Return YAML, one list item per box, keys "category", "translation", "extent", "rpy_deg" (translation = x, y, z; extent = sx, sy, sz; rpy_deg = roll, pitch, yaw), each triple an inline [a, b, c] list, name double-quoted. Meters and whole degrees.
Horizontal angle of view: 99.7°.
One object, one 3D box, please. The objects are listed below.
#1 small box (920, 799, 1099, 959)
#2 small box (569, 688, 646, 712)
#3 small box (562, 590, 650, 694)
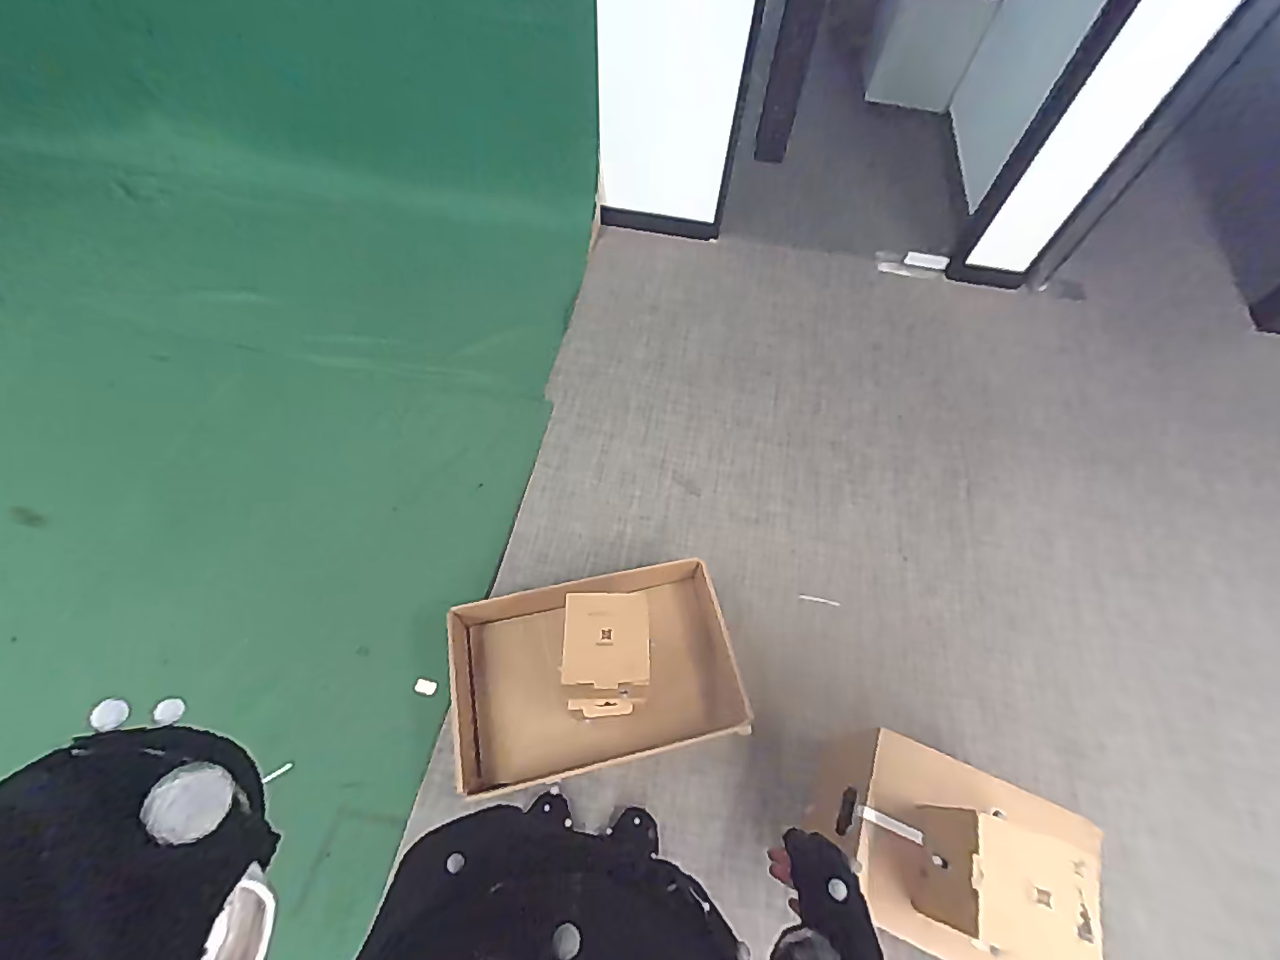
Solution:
- category: "small box"
  translation: [0.571, 0.627, 0.860]
  extent: [0.179, 0.176, 0.168]
  rpy_deg: [17, 62, 7]
- category: "small box"
  translation: [-0.074, 0.429, 1.239]
  extent: [0.168, 0.176, 0.179]
  rpy_deg: [-4, 59, -4]
- category: "small box"
  translation: [-0.065, 0.336, 1.106]
  extent: [0.168, 0.176, 0.179]
  rpy_deg: [0, 58, -3]
